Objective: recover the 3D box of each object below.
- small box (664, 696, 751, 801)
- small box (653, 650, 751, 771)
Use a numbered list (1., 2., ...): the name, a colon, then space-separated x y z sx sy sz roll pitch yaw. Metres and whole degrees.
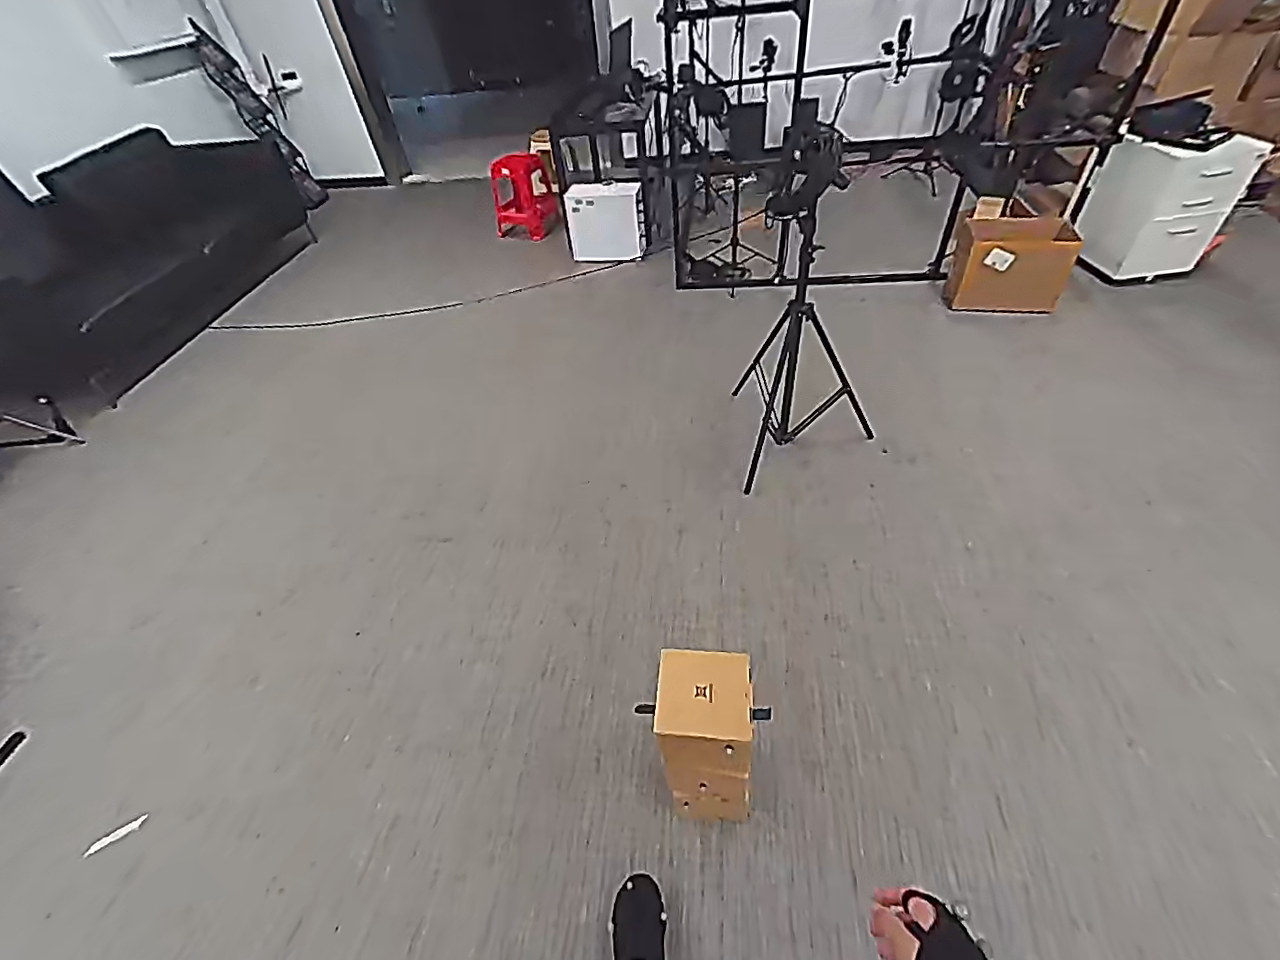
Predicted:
1. small box: 0.150 0.569 1.169 0.168 0.176 0.179 4 45 11
2. small box: 0.125 0.452 1.058 0.179 0.176 0.168 1 45 8
